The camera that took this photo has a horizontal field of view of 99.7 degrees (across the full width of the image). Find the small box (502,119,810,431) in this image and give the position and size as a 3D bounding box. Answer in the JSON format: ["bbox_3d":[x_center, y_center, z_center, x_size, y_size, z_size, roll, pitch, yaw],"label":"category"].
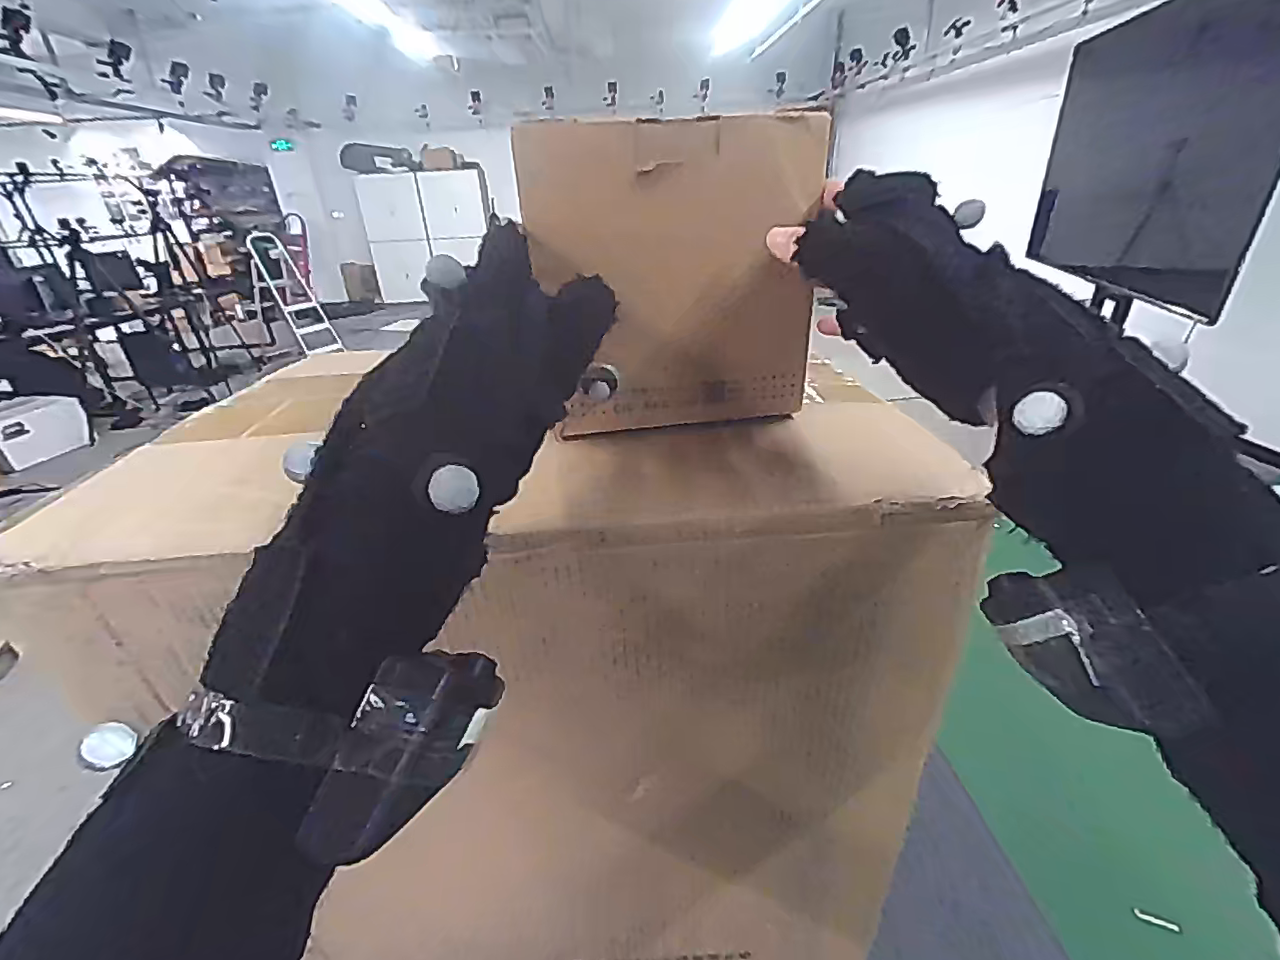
[{"bbox_3d":[0.006,-0.138,0.384,0.168,0.176,0.179,-7,26,-6],"label":"small box"}]
